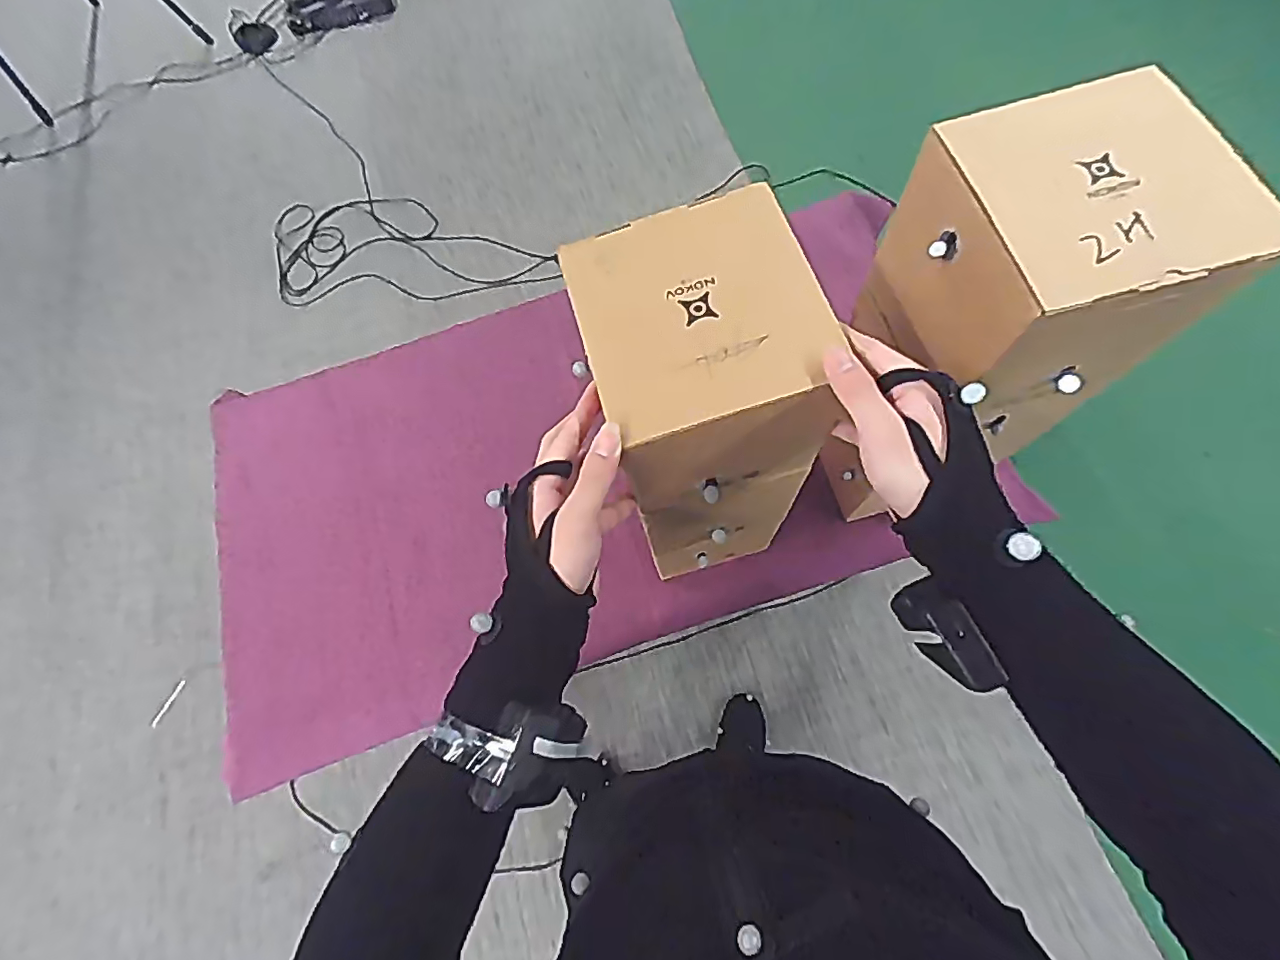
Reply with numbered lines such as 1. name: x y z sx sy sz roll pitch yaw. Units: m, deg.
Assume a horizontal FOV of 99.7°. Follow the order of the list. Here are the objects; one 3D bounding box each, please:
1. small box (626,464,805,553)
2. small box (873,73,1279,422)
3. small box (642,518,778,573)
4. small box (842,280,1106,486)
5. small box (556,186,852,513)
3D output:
1. small box: 0.061 -0.036 0.598 0.168 0.176 0.179 -15 70 1
2. small box: 0.315 -0.172 0.439 0.168 0.176 0.179 -14 70 2
3. small box: 0.078 0.021 0.751 0.168 0.176 0.179 -17 69 0
4. small box: 0.333 -0.115 0.594 0.168 0.176 0.179 -15 69 2
5. small box: 0.044 -0.092 0.447 0.168 0.176 0.179 -17 70 1
